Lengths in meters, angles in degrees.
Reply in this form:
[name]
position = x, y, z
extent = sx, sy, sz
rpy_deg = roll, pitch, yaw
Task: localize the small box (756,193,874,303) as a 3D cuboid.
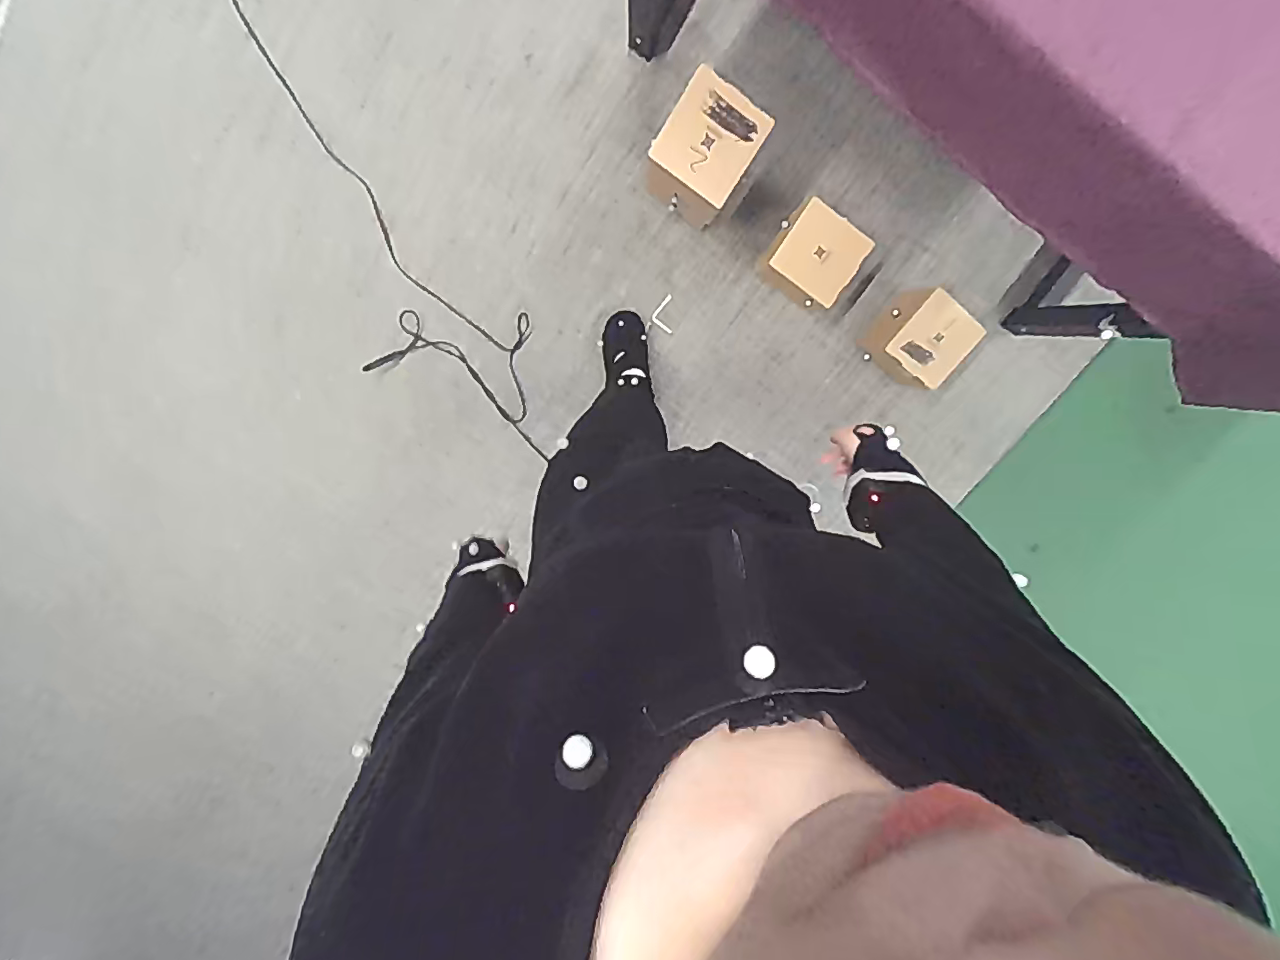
[small box]
position = 0.394, -0.526, 1.260
extent = 0.179, 0.176, 0.168
rpy_deg = 32, 104, -10
